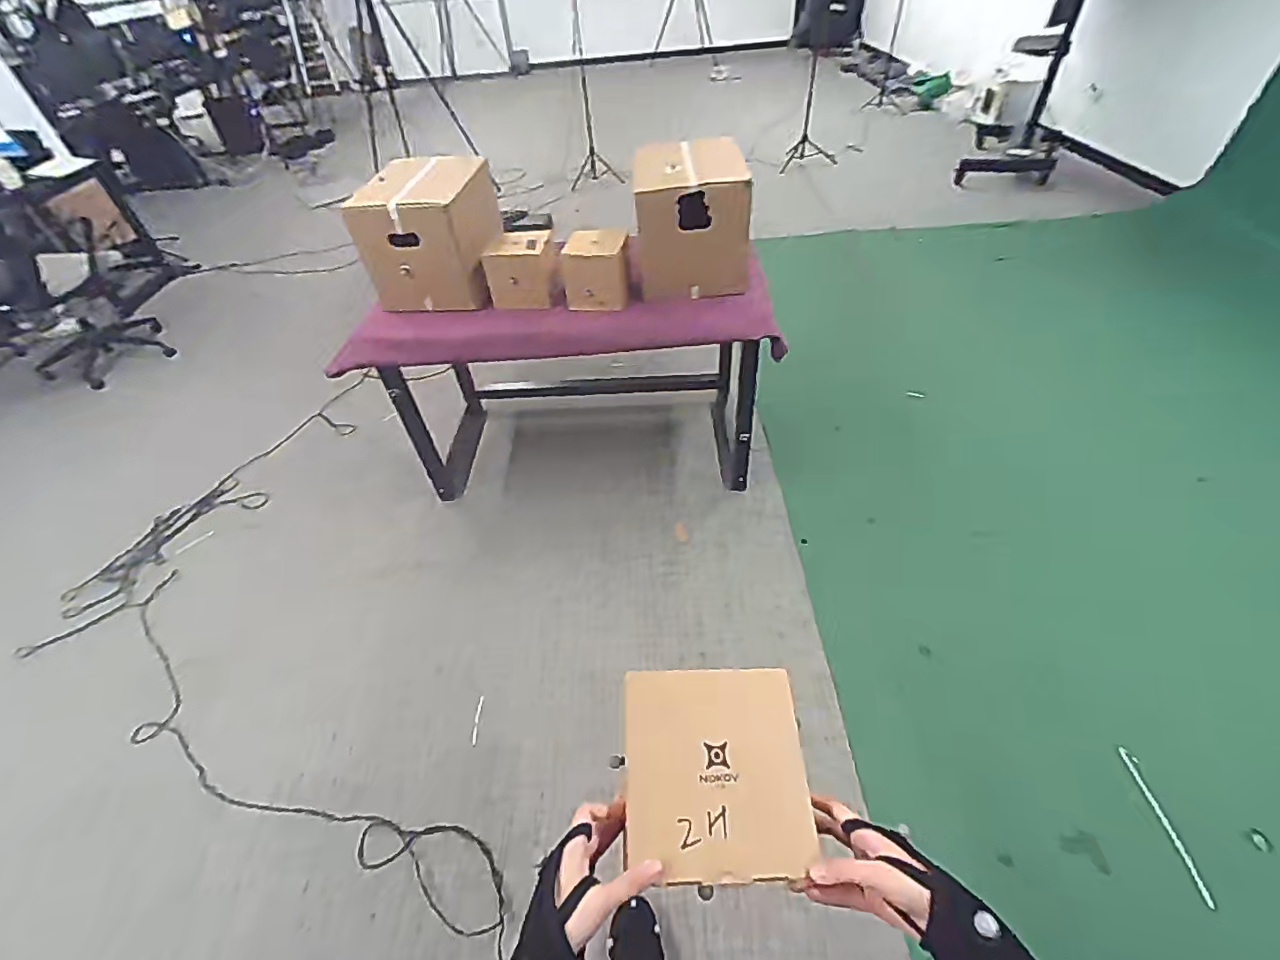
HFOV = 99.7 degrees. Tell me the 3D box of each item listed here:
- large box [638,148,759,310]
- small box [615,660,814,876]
[{"bbox_3d":[0.164,-0.766,1.641,0.320,0.320,0.408,-5,46,4],"label":"large box"},{"bbox_3d":[0.058,0.300,0.560,0.168,0.176,0.179,0,55,-4],"label":"small box"}]
